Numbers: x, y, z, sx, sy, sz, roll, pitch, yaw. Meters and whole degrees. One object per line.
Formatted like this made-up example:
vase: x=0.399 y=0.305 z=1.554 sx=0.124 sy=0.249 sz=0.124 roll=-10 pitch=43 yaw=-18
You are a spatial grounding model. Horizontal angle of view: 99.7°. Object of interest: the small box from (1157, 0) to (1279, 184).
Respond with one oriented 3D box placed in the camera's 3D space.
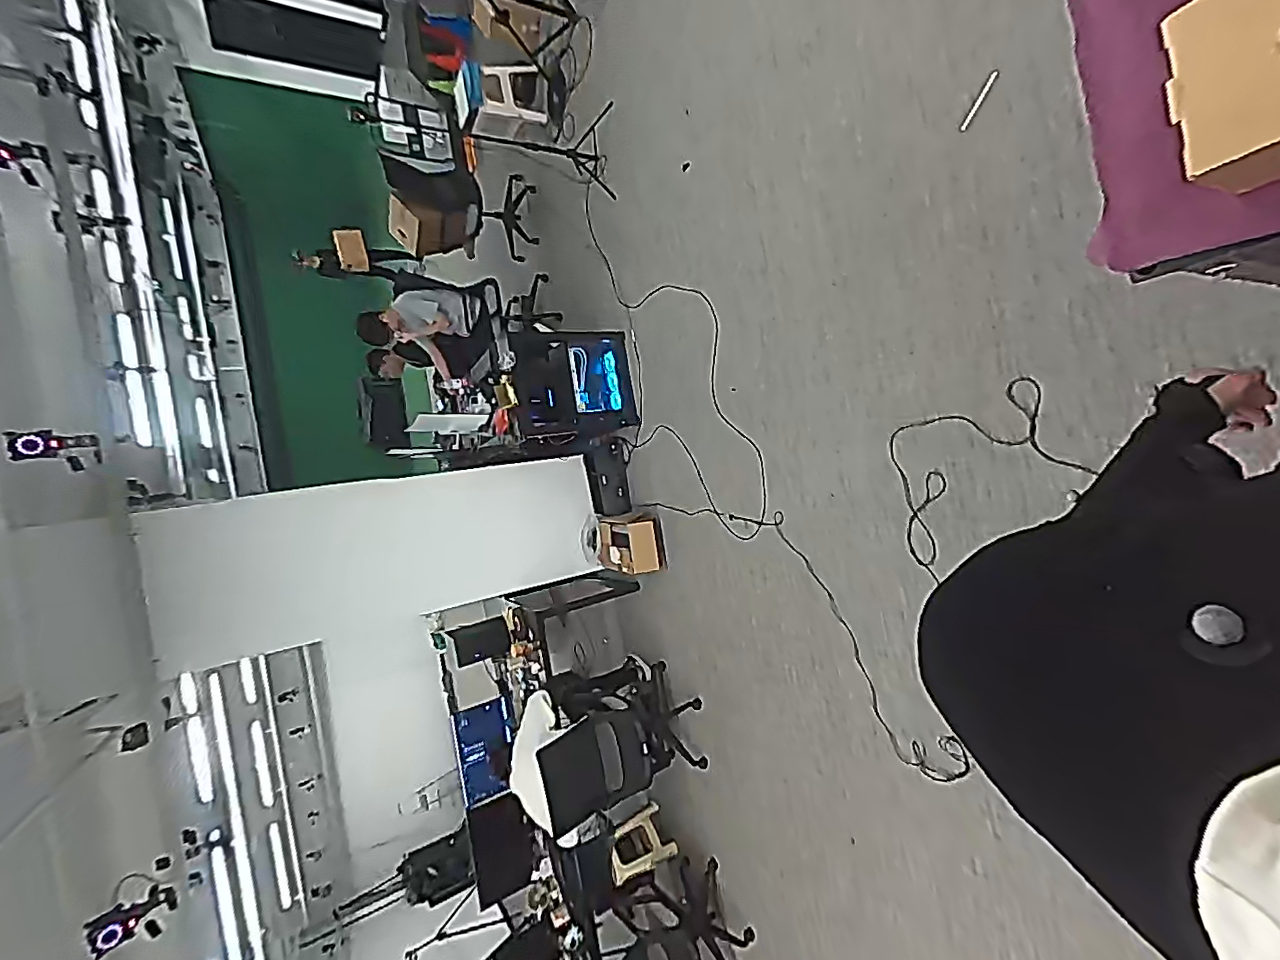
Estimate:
small box: x=0.649 y=-0.410 z=0.515 sx=0.179 sy=0.176 sz=0.168 roll=-9 pitch=92 yaw=60
